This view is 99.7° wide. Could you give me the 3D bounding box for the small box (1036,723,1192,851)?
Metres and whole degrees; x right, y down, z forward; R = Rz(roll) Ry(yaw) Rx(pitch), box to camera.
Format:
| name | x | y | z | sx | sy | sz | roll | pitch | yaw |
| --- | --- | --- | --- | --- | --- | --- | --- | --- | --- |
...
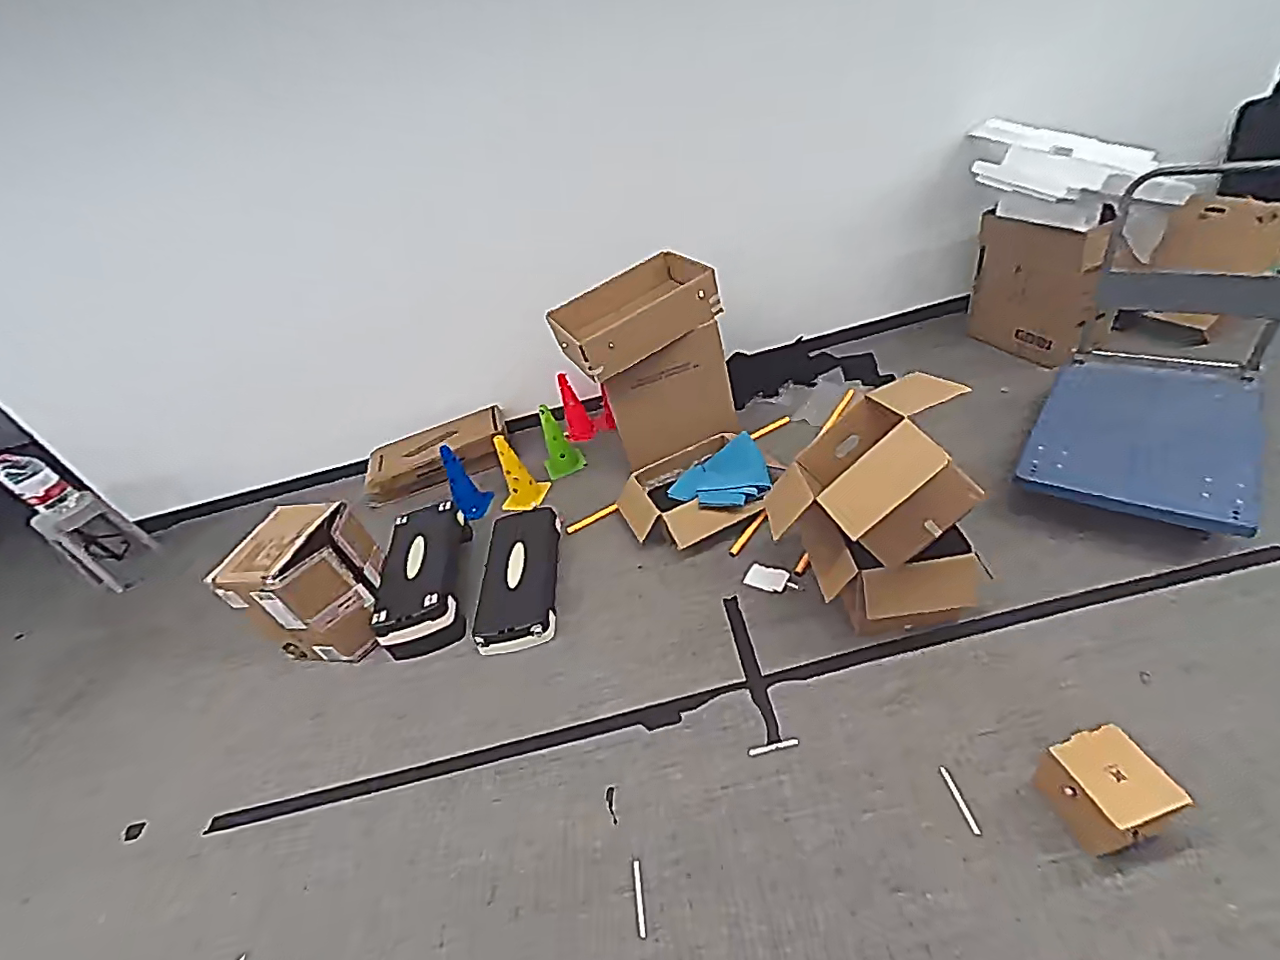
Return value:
| name | x | y | z | sx | sy | sz | roll | pitch | yaw |
| --- | --- | --- | --- | --- | --- | --- | --- | --- | --- |
| small box | 1.018 | 0.677 | 1.181 | 0.168 | 0.176 | 0.179 | -19 | 37 | -3 |
